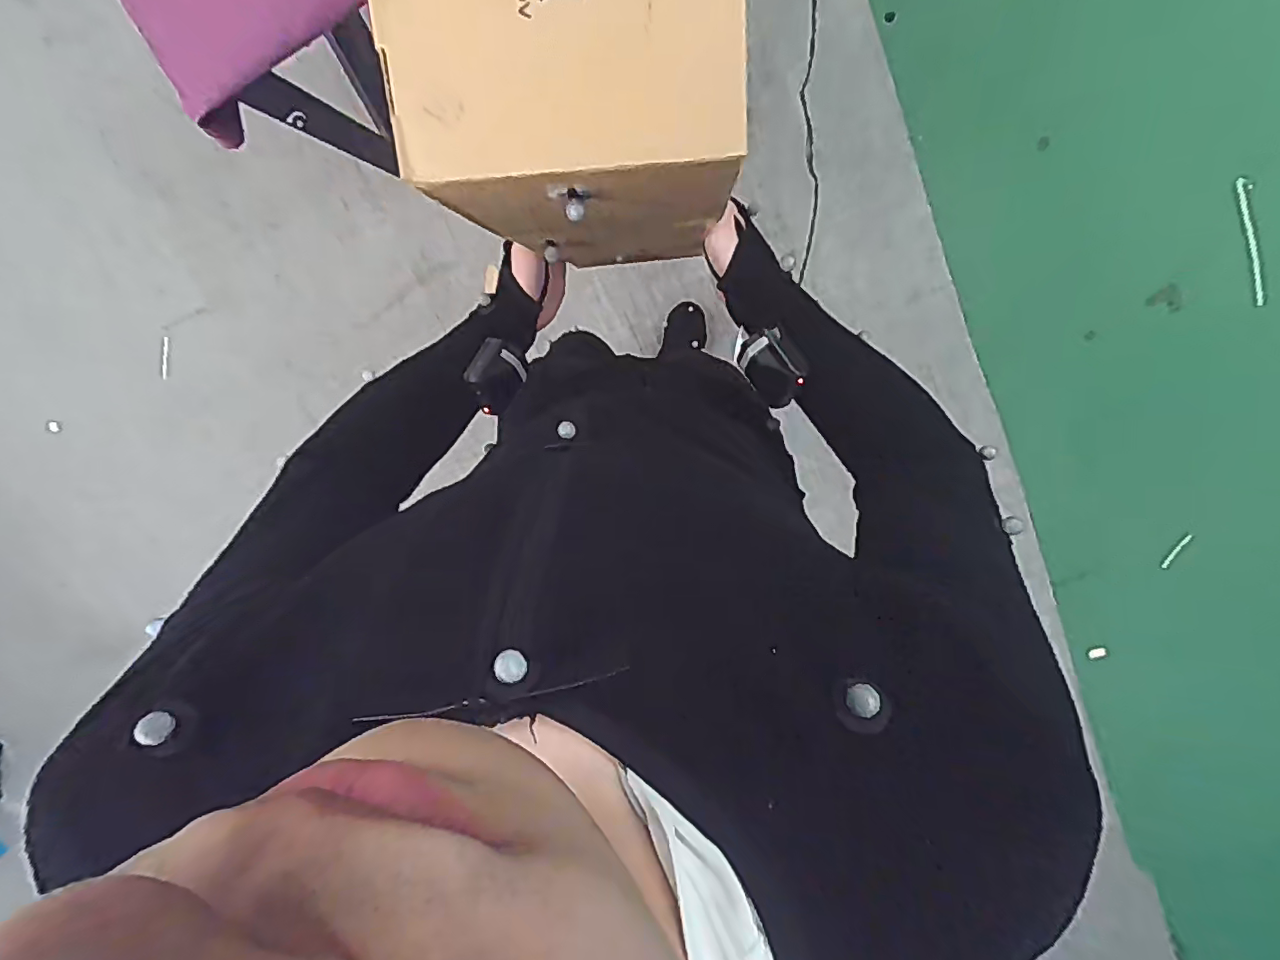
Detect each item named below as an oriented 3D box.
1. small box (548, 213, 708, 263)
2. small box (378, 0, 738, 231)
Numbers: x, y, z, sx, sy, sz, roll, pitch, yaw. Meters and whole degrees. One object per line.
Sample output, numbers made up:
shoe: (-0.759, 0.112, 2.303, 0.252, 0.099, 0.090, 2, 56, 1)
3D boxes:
small box: (-0.011, -0.359, 0.639, 0.179, 0.176, 0.168, -3, 105, 6)
small box: (-0.034, -0.256, 0.328, 0.179, 0.176, 0.168, -1, 106, 5)
